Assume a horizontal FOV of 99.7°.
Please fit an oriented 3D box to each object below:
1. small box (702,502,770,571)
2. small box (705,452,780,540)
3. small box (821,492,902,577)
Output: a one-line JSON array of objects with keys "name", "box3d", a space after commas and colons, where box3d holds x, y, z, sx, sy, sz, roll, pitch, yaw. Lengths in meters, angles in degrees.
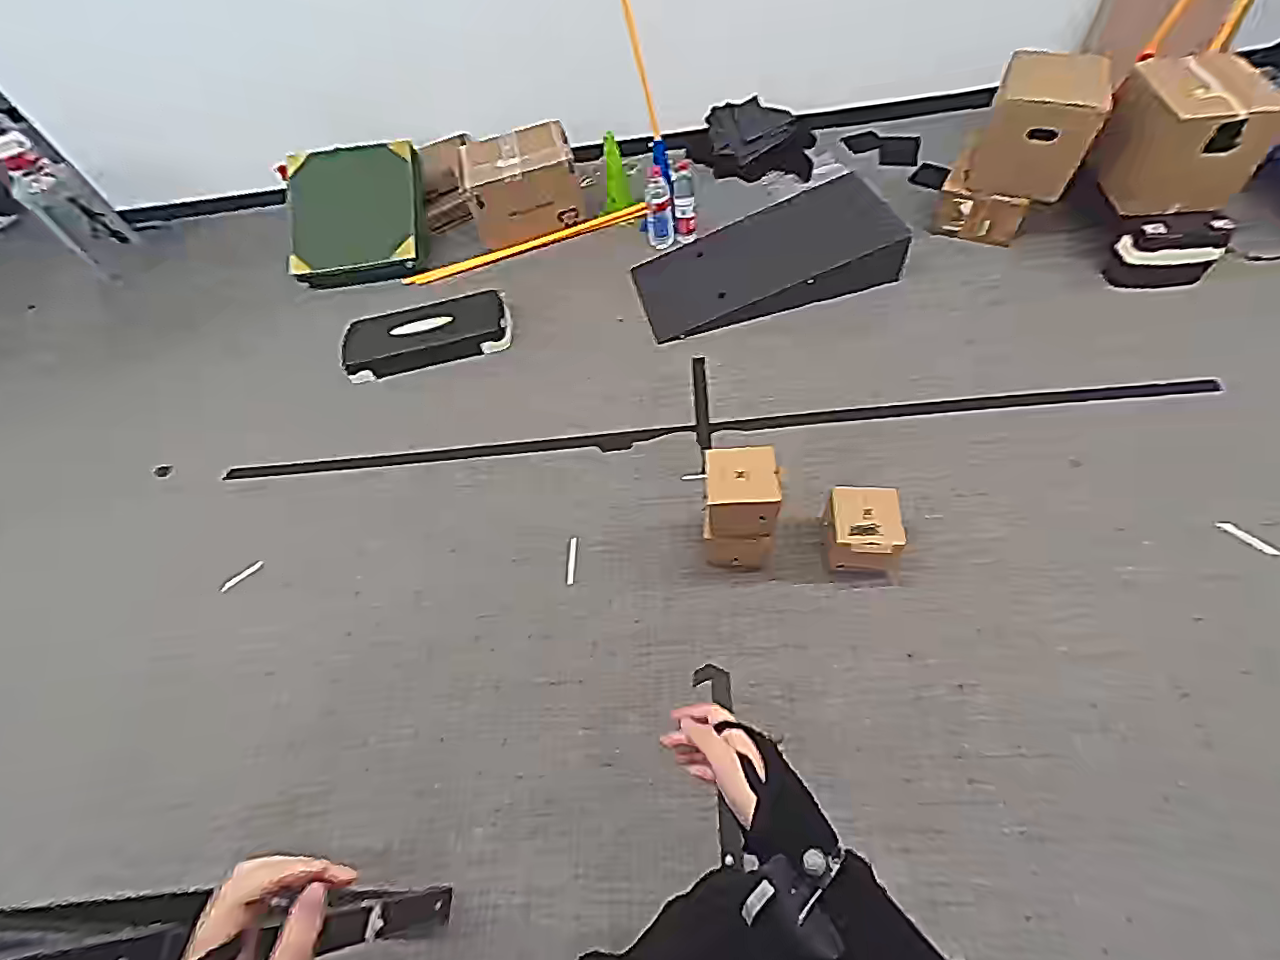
[{"name": "small box", "box3d": [0.265, 0.147, 1.517, 0.179, 0.176, 0.168, 2, 56, 8]}, {"name": "small box", "box3d": [0.256, 0.045, 1.388, 0.179, 0.176, 0.168, -3, 55, 7]}, {"name": "small box", "box3d": [0.594, 0.152, 1.469, 0.168, 0.176, 0.179, 2, 56, 9]}]
